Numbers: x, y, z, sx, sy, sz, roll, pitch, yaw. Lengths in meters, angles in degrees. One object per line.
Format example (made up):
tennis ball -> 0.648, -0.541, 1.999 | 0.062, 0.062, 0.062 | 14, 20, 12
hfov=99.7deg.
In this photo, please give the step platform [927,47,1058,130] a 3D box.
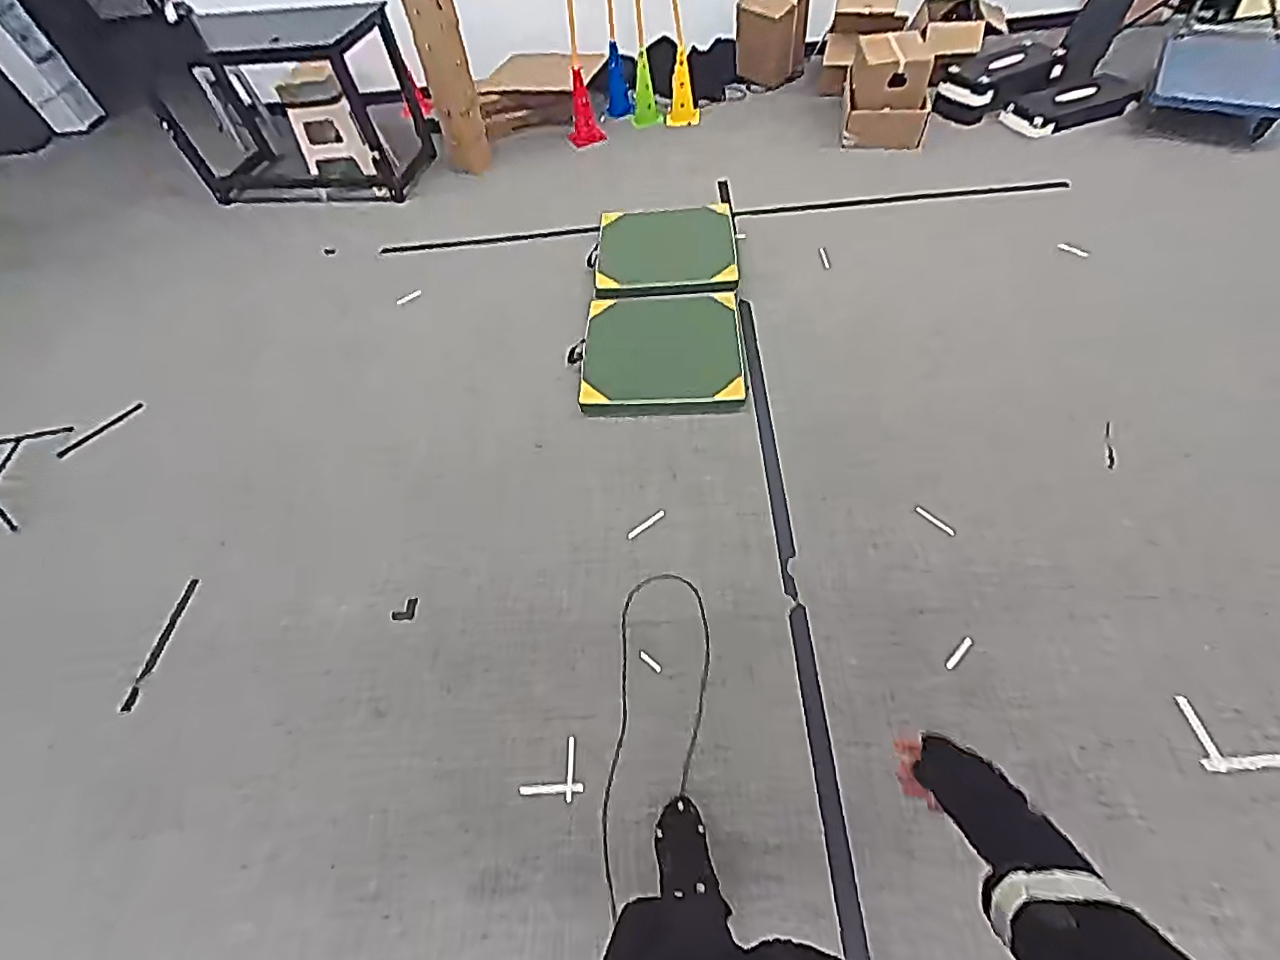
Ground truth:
step platform -> 1.975, -2.202, 3.030 | 0.684, 0.204, 0.286 | -27, 57, -12
